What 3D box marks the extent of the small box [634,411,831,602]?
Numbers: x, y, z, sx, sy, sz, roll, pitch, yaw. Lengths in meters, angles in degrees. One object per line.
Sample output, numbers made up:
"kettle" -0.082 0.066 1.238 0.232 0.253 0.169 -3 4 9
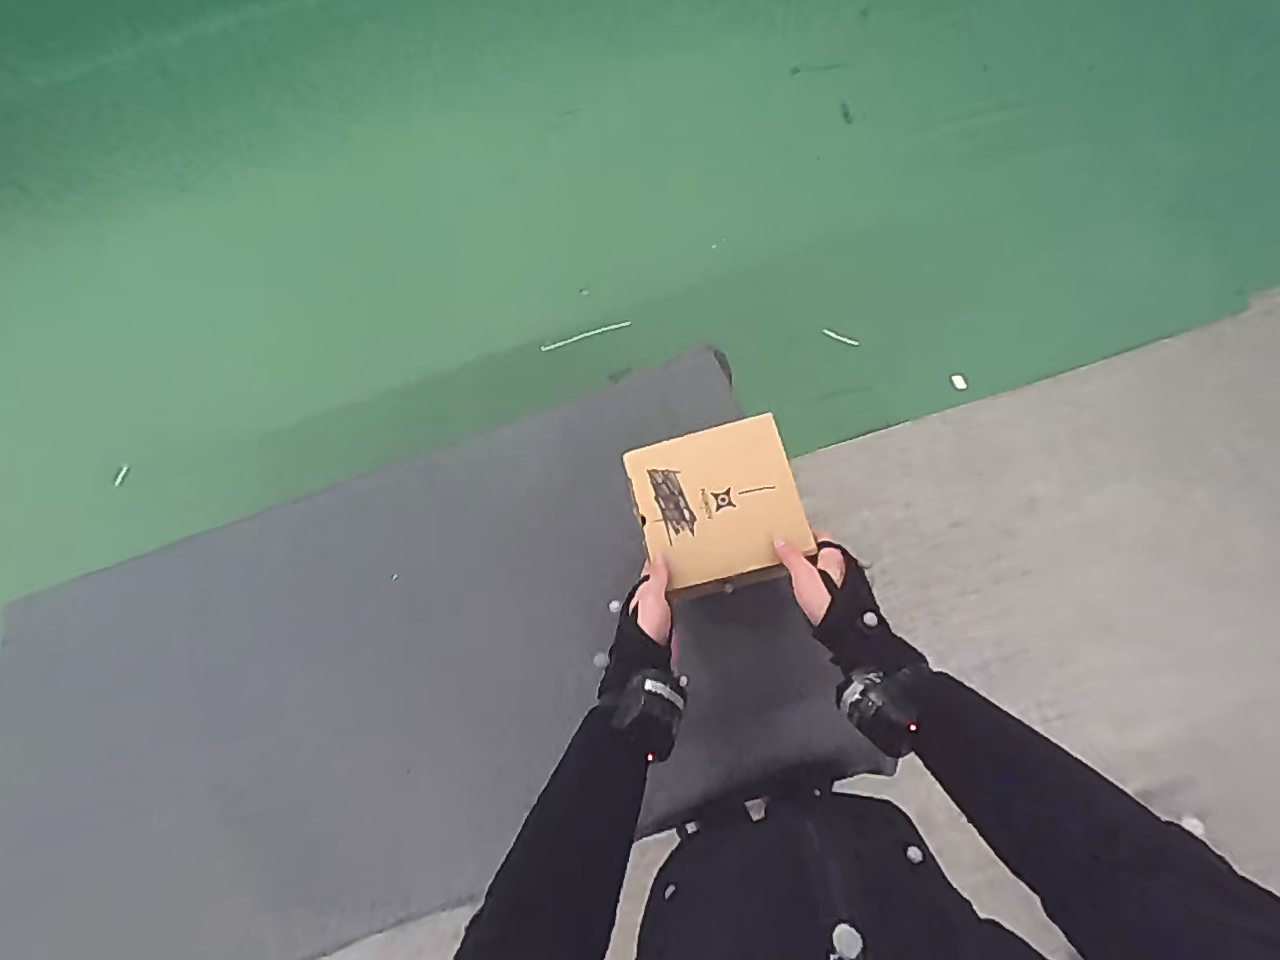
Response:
"small box" 0.103 0.043 0.646 0.179 0.176 0.168 -14 72 2
